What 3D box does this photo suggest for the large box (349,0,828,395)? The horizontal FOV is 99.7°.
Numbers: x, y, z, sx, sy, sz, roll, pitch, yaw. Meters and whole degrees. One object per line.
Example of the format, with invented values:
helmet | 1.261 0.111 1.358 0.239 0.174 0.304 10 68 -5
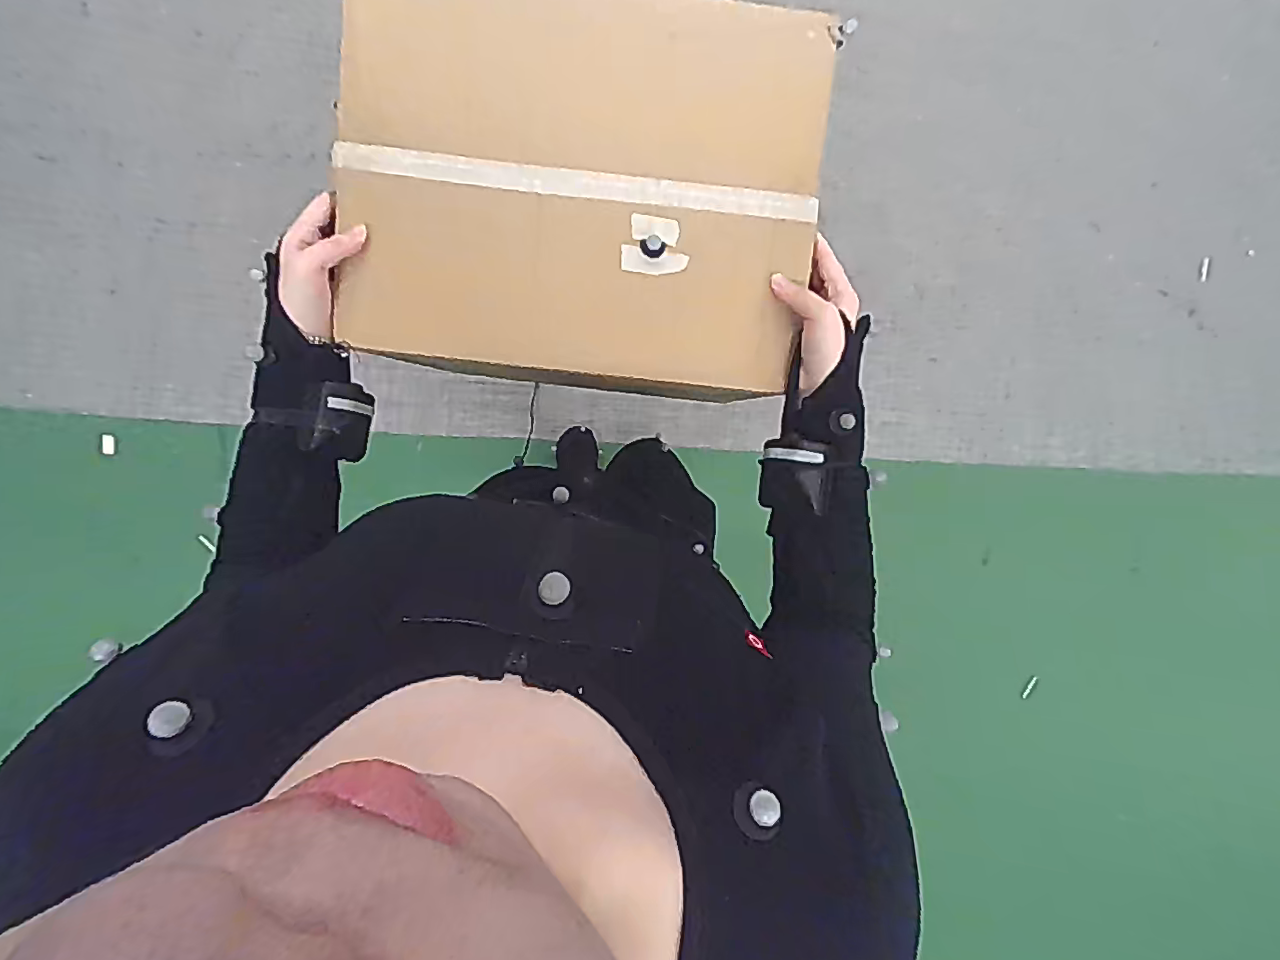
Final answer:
large box | -0.055 -0.273 0.615 0.408 0.320 0.320 5 97 -3
